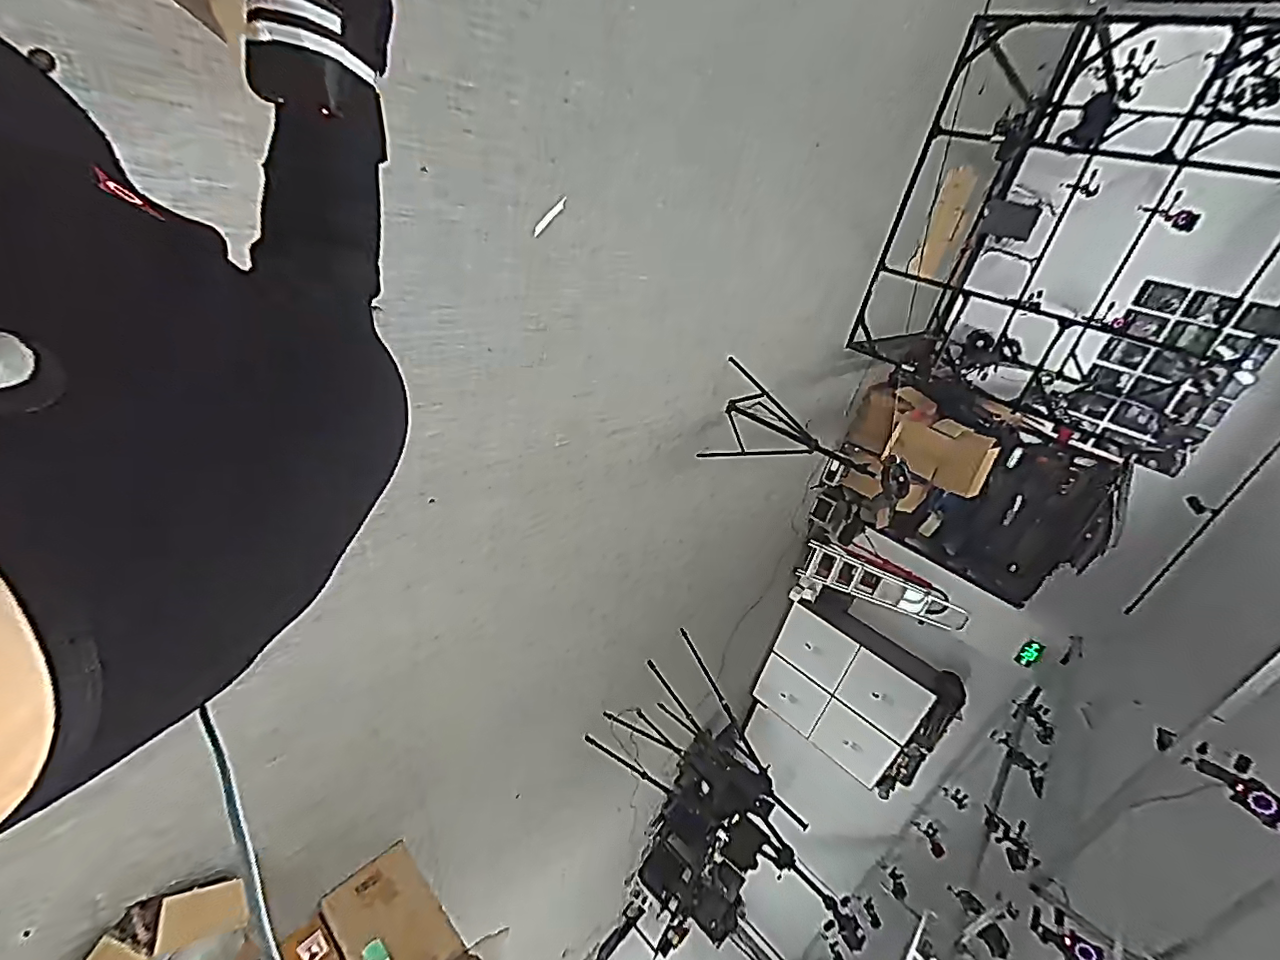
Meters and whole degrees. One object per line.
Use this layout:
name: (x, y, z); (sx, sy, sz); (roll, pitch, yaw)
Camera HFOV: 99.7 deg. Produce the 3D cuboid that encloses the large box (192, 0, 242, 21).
large box: (-0.378, -0.582, 0.290); (0.408, 0.320, 0.320); (31, 99, -44)
